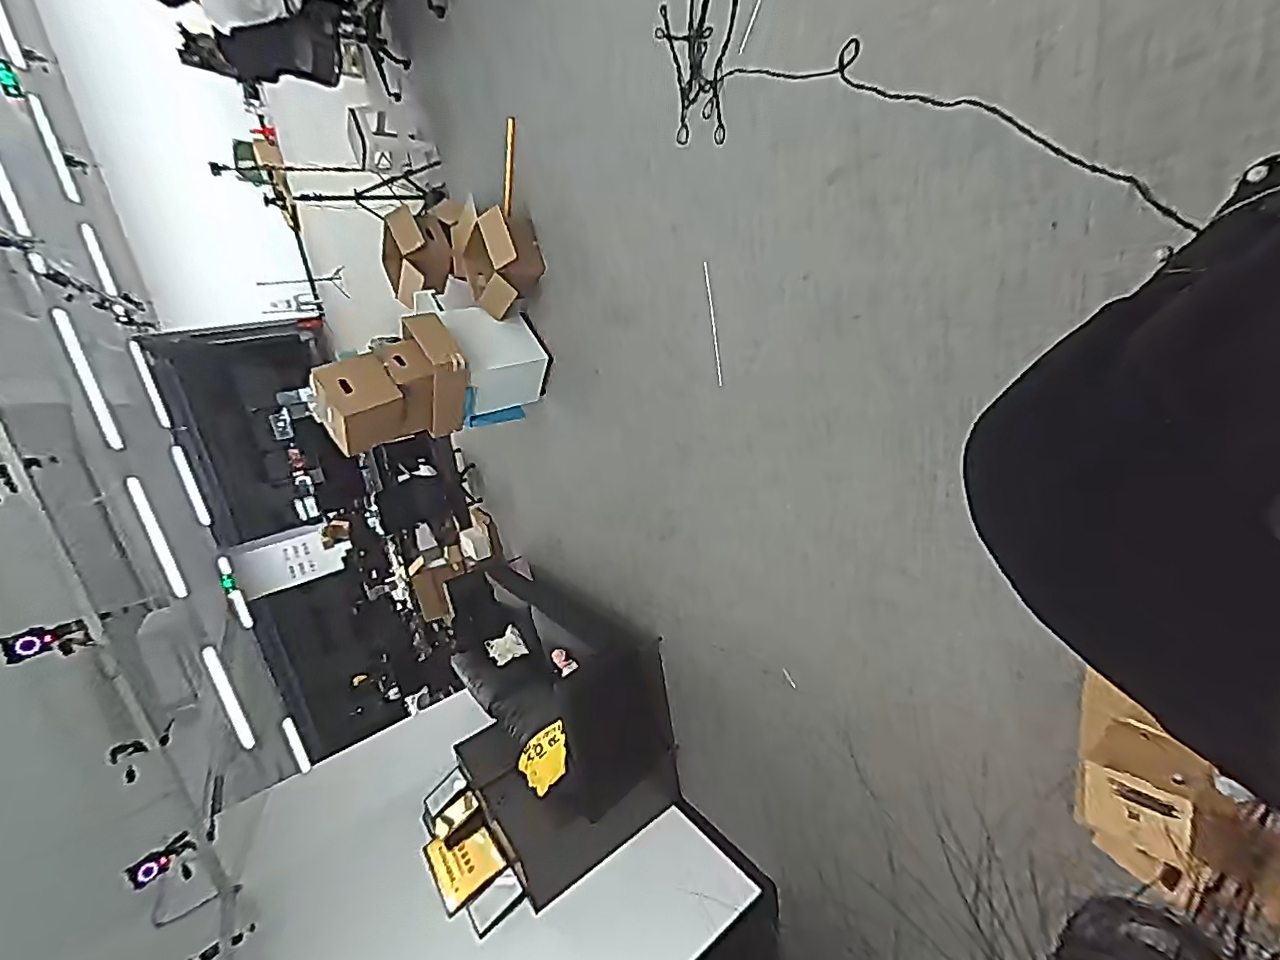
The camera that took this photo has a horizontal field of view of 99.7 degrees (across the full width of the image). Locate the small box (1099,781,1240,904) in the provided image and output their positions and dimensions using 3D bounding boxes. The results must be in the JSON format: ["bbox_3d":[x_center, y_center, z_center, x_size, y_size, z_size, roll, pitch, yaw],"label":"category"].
[{"bbox_3d":[1.261,0.839,1.289,0.179,0.176,0.168,35,134,45],"label":"small box"}]

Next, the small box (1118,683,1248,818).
[{"bbox_3d":[1.222,0.596,1.218,0.168,0.176,0.179,20,123,52],"label":"small box"}]
